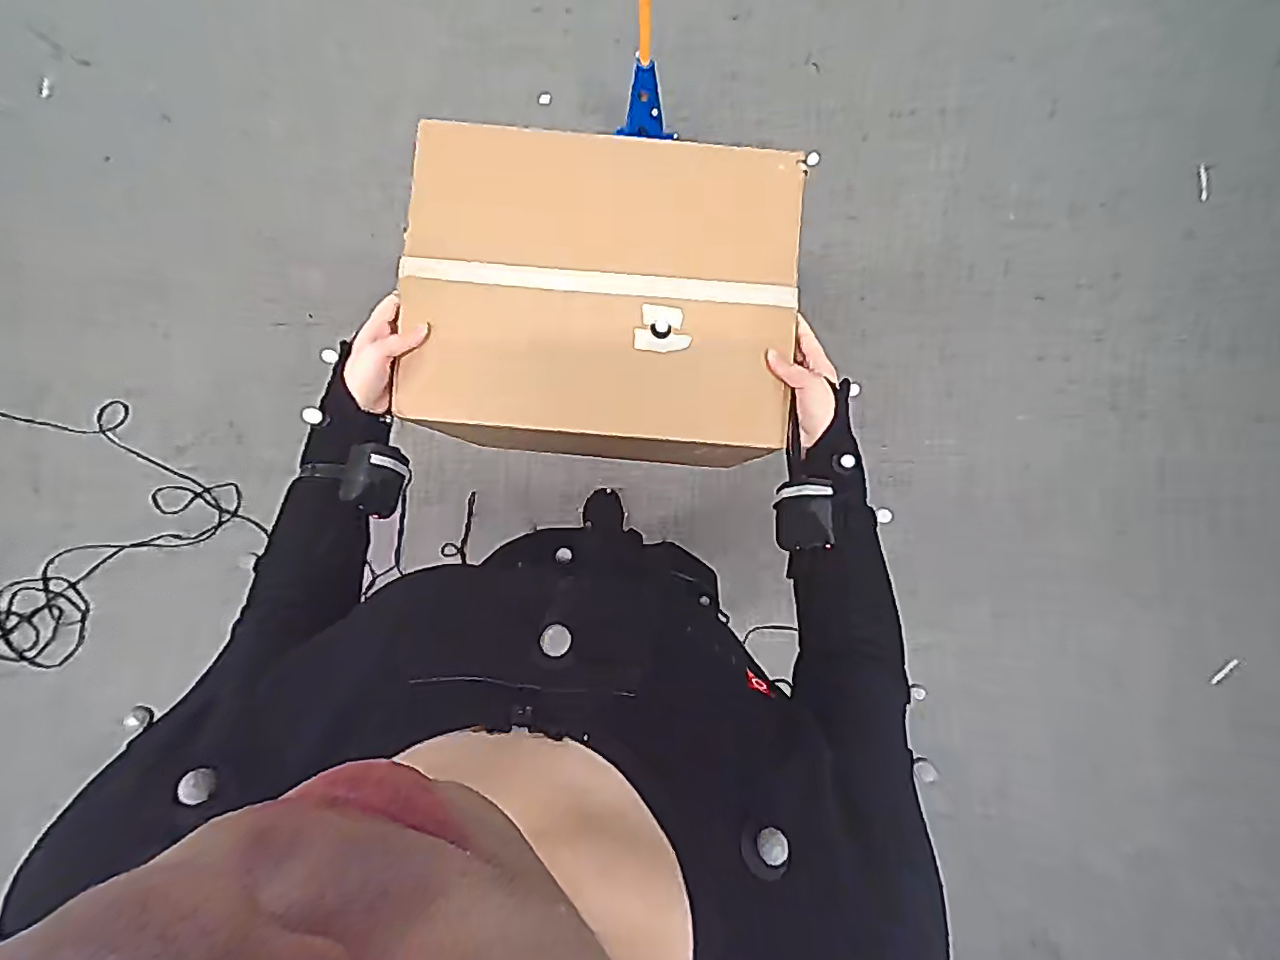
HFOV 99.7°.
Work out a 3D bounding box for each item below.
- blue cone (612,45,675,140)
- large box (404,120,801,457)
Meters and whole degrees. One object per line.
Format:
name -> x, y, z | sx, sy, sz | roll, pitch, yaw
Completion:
blue cone -> 0.006, -0.965, 1.435 | 0.193, 0.380, 0.192 | 9, 85, 0
large box -> -0.042, -0.206, 0.711 | 0.408, 0.320, 0.320 | 4, 89, -2
